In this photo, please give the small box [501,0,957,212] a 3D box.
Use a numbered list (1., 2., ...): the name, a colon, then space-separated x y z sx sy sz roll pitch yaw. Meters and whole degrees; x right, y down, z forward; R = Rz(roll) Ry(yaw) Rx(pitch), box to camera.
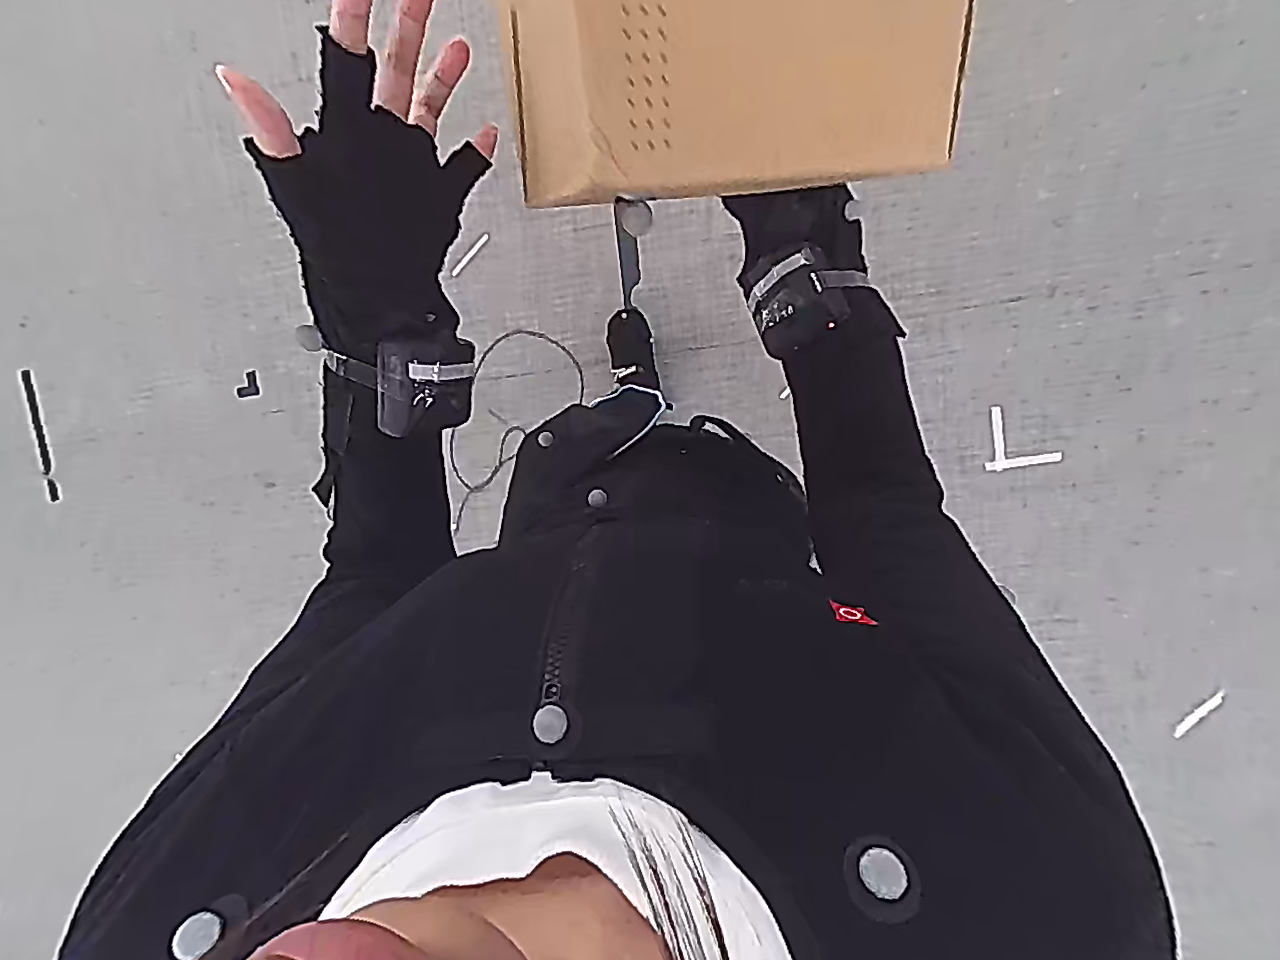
1. small box: 0.025 -0.235 0.261 0.176 0.168 0.179 -11 118 -15
